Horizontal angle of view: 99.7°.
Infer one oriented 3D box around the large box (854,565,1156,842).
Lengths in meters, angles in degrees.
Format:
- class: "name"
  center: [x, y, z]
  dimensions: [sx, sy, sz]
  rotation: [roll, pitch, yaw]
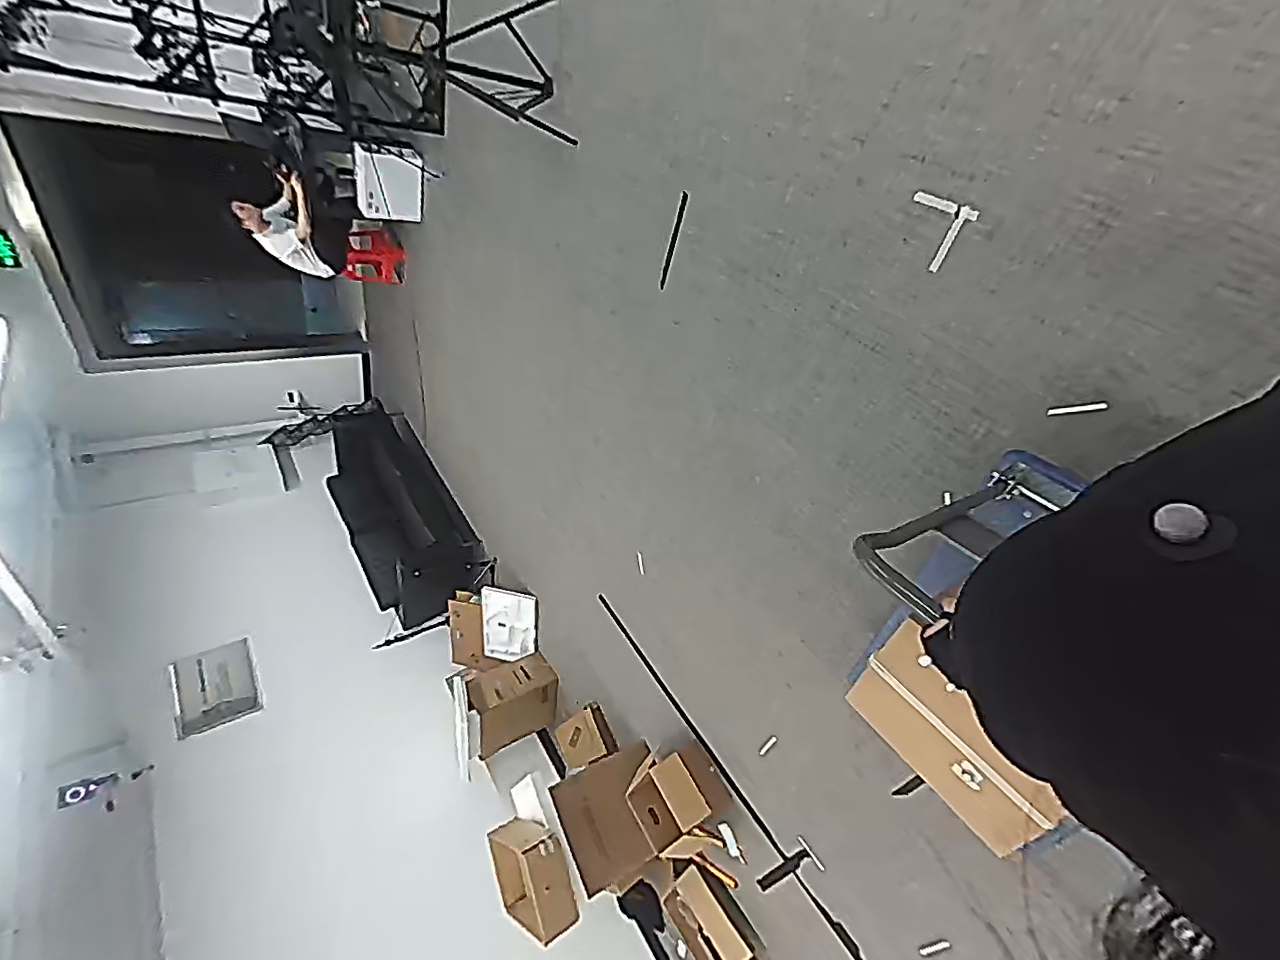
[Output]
- class: "large box"
  center: [0.778, 0.460, 1.193]
  dimensions: [0.408, 0.320, 0.320]
  rotation: [44, 135, 35]
